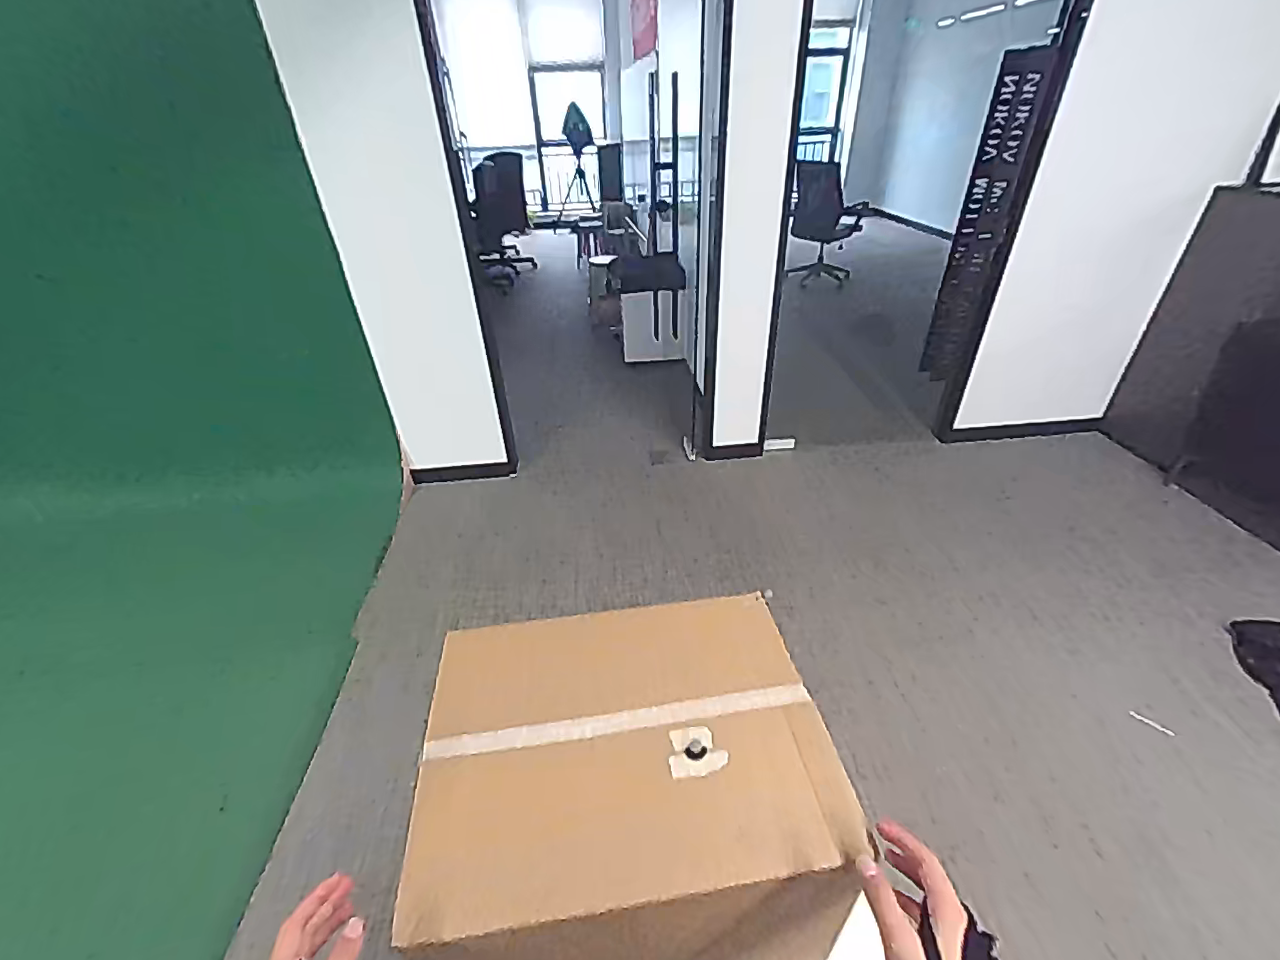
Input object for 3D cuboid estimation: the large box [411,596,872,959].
[{"bbox_3d":[-0.012,0.380,0.653,0.408,0.320,0.320,-5,35,-7],"label":"large box"}]
